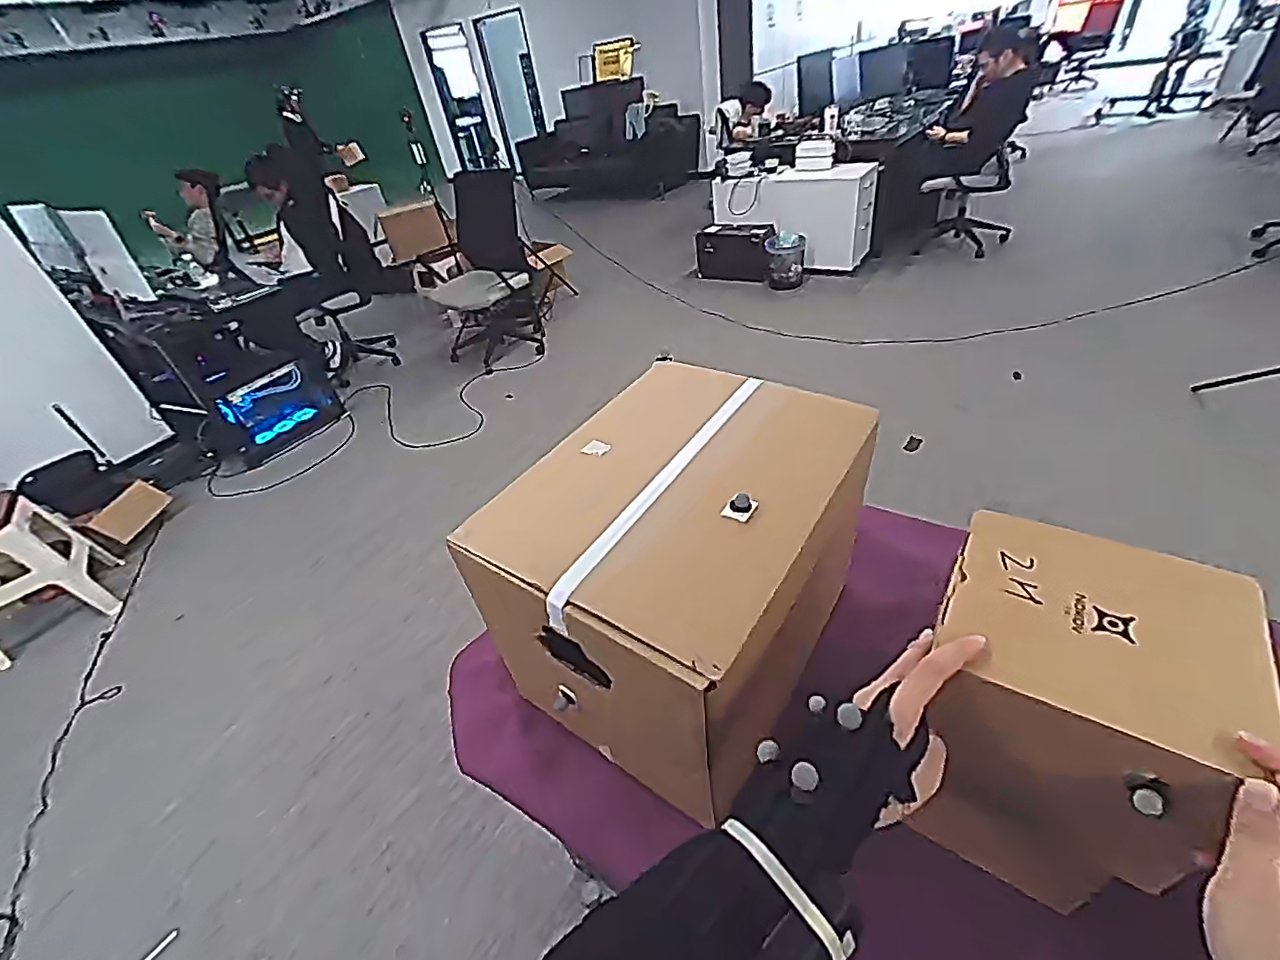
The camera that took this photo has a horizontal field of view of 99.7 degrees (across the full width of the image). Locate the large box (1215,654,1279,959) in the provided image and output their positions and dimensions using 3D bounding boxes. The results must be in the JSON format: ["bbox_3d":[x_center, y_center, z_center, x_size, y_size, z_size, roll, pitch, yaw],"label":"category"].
[{"bbox_3d":[0.628,0.298,0.312,0.320,0.320,0.408,18,45,30],"label":"large box"}]
